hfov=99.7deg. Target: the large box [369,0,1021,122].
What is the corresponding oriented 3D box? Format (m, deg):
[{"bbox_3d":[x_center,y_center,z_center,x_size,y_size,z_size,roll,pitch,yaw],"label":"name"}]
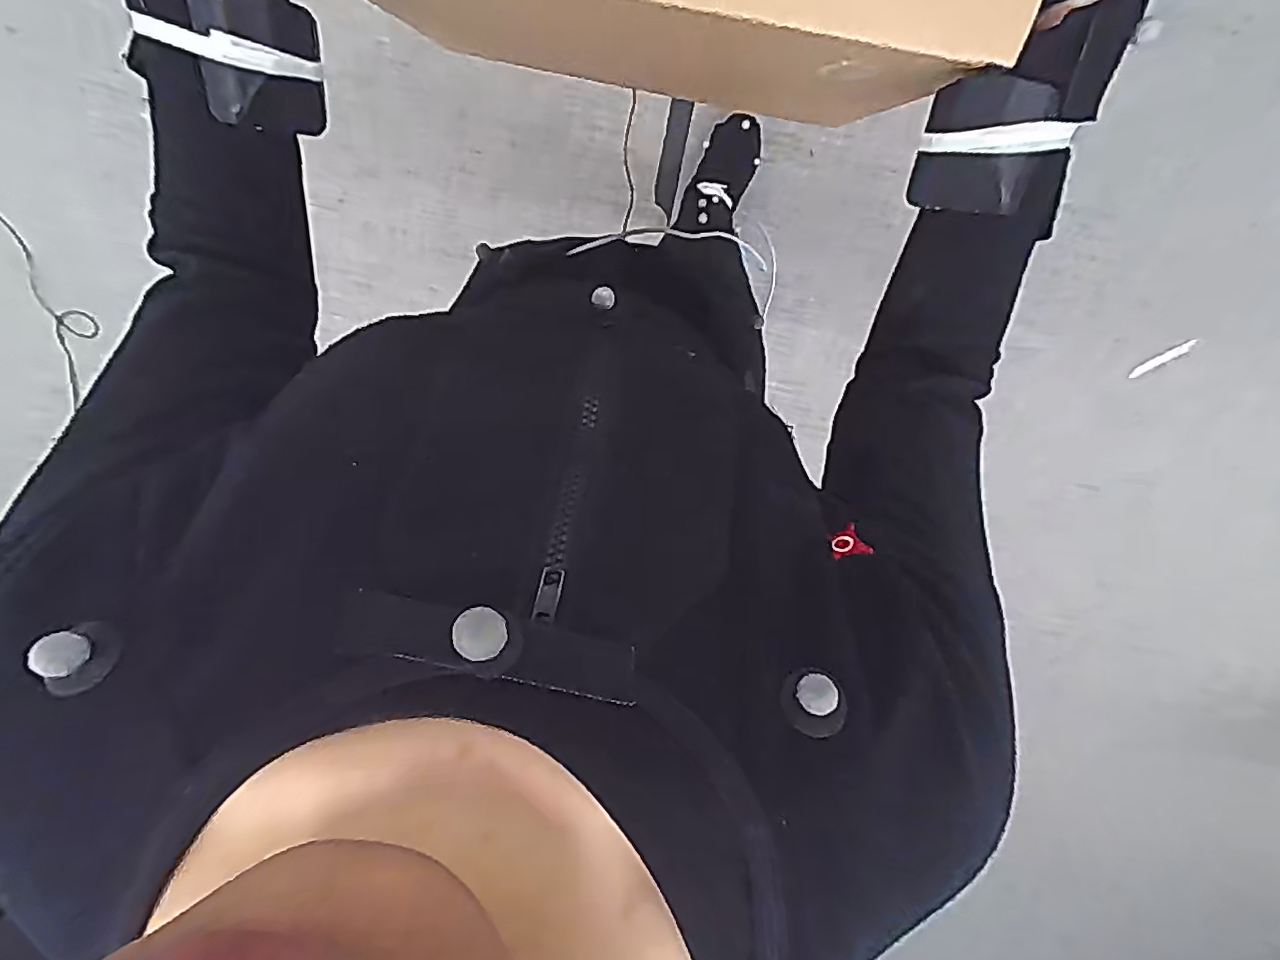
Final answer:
[{"bbox_3d":[0.022,-0.455,0.344,0.408,0.320,0.320,9,119,-3],"label":"large box"}]
